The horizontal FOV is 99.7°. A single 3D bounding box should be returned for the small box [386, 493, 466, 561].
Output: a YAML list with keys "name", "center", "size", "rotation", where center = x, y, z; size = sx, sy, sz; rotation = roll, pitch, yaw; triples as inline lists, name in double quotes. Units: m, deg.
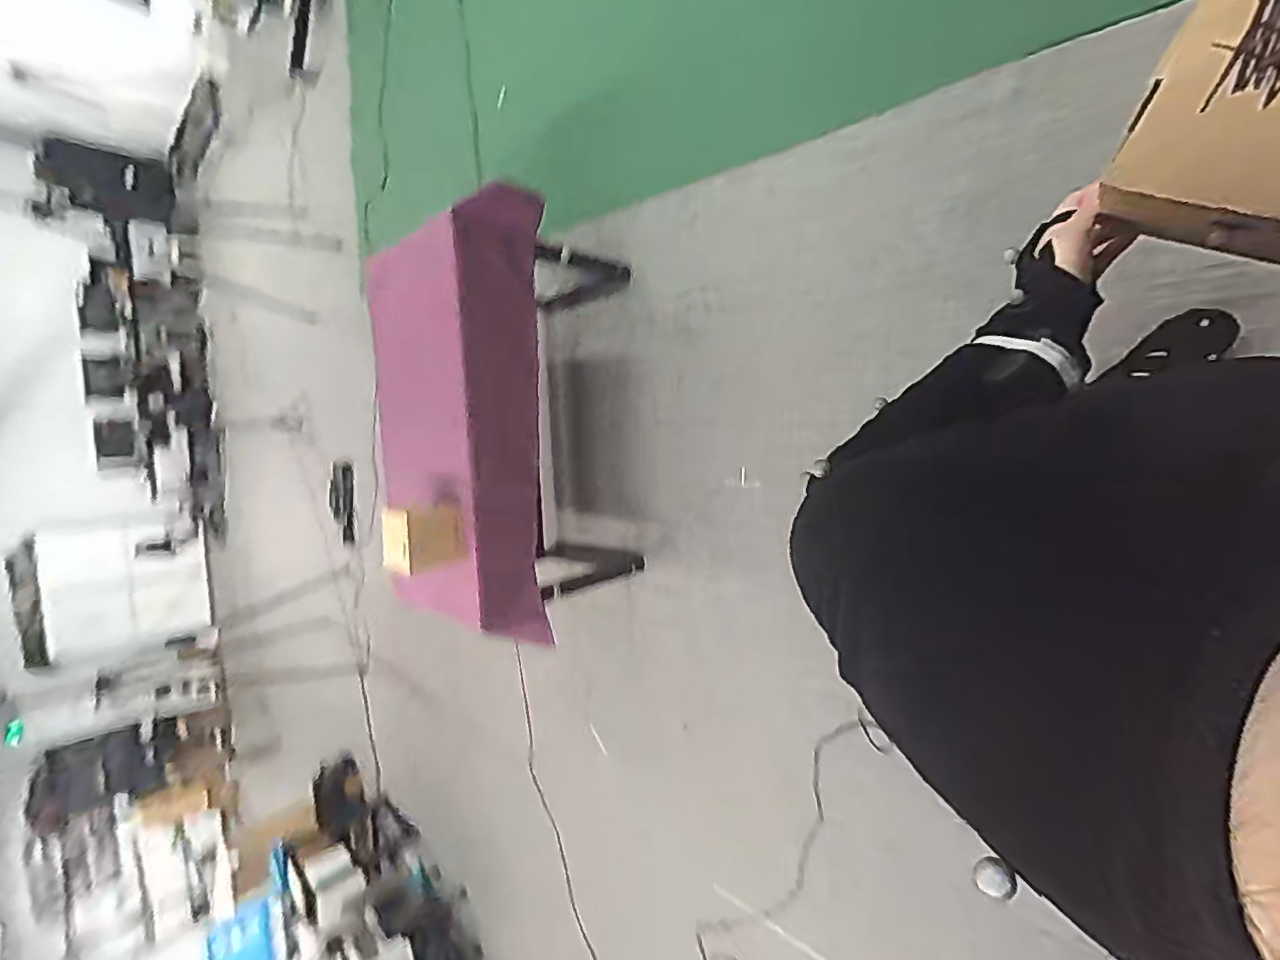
- name: "small box"
  center: [-0.635, 0.132, 1.609]
  size: [0.179, 0.176, 0.168]
  rotation: [6, 100, 43]
